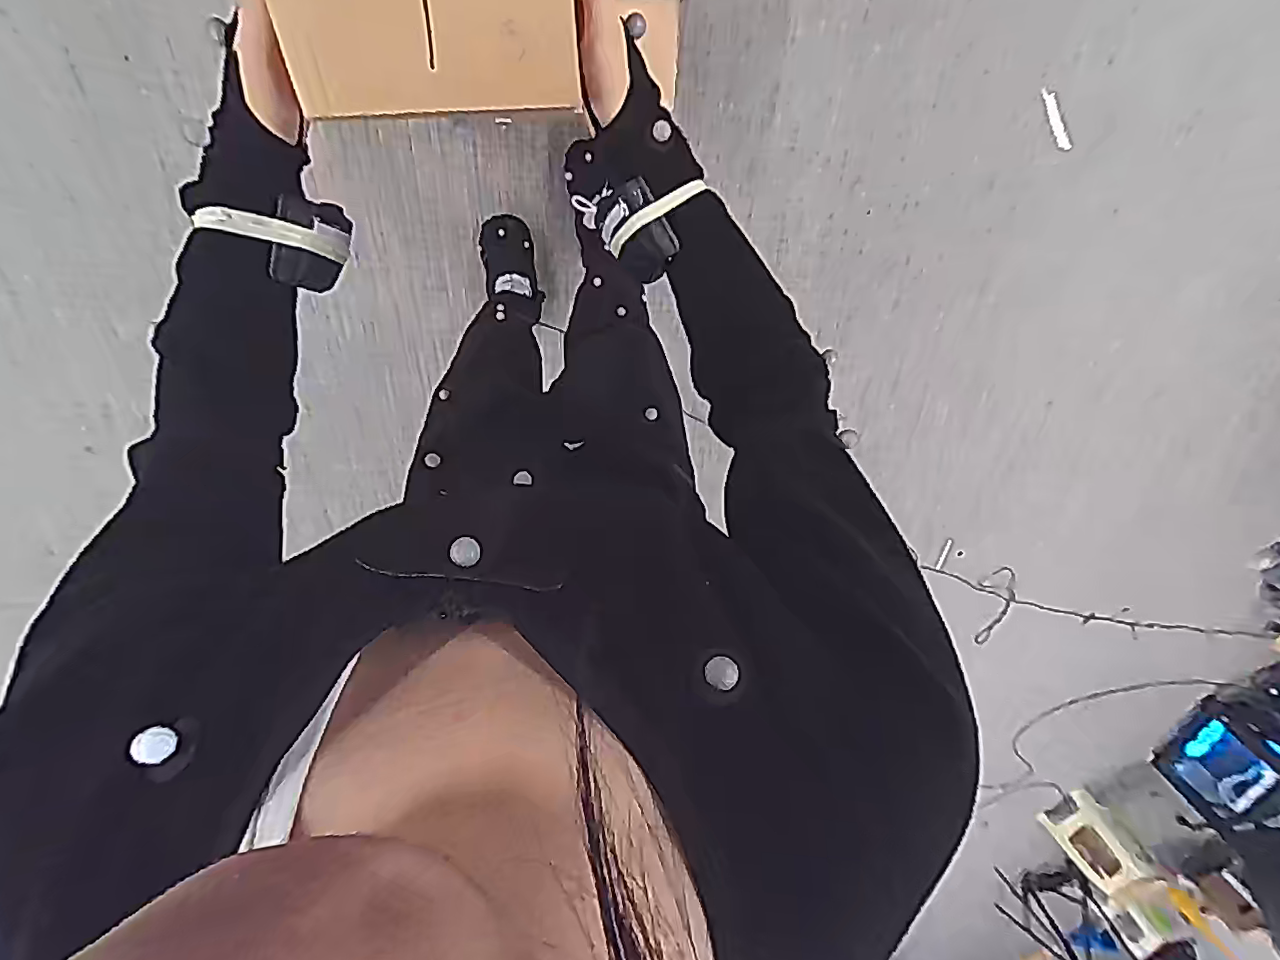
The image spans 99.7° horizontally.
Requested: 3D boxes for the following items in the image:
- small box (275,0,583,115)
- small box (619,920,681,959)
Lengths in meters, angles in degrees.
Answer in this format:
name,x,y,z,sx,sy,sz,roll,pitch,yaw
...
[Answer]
name,x,y,z,sx,sy,sz,roll,pitch,yaw
small box,-0.130,-0.344,0.347,0.168,0.176,0.179,-6,125,-6
small box,0.031,1.387,1.541,0.168,0.176,0.179,-5,124,-6
